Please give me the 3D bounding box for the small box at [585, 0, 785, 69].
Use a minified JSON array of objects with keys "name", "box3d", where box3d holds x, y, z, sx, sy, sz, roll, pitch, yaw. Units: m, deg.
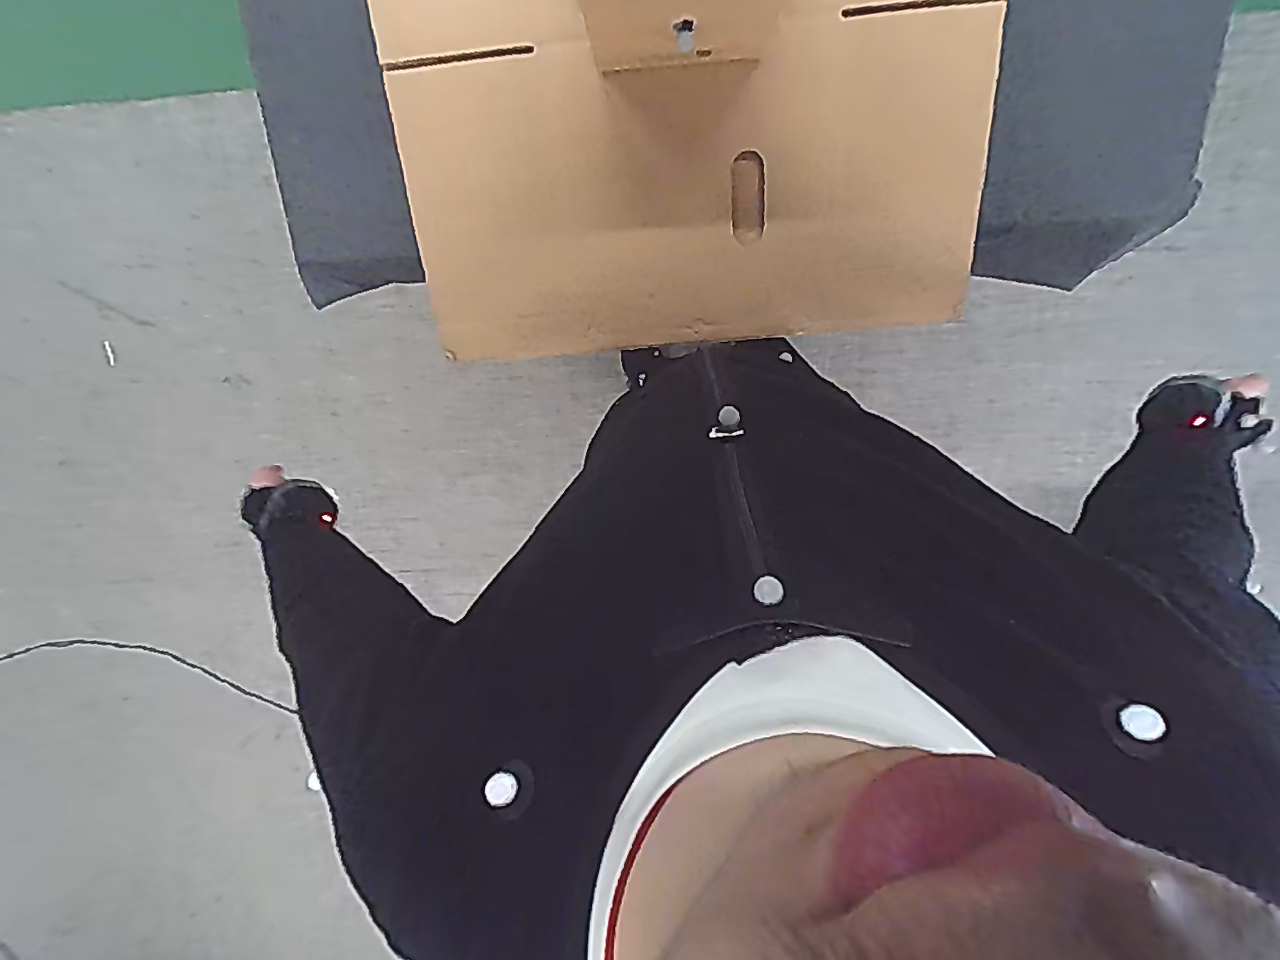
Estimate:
[{"name":"small box","box3d":[0.035,-0.467,0.437,0.168,0.176,0.179,-5,107,4]}]
